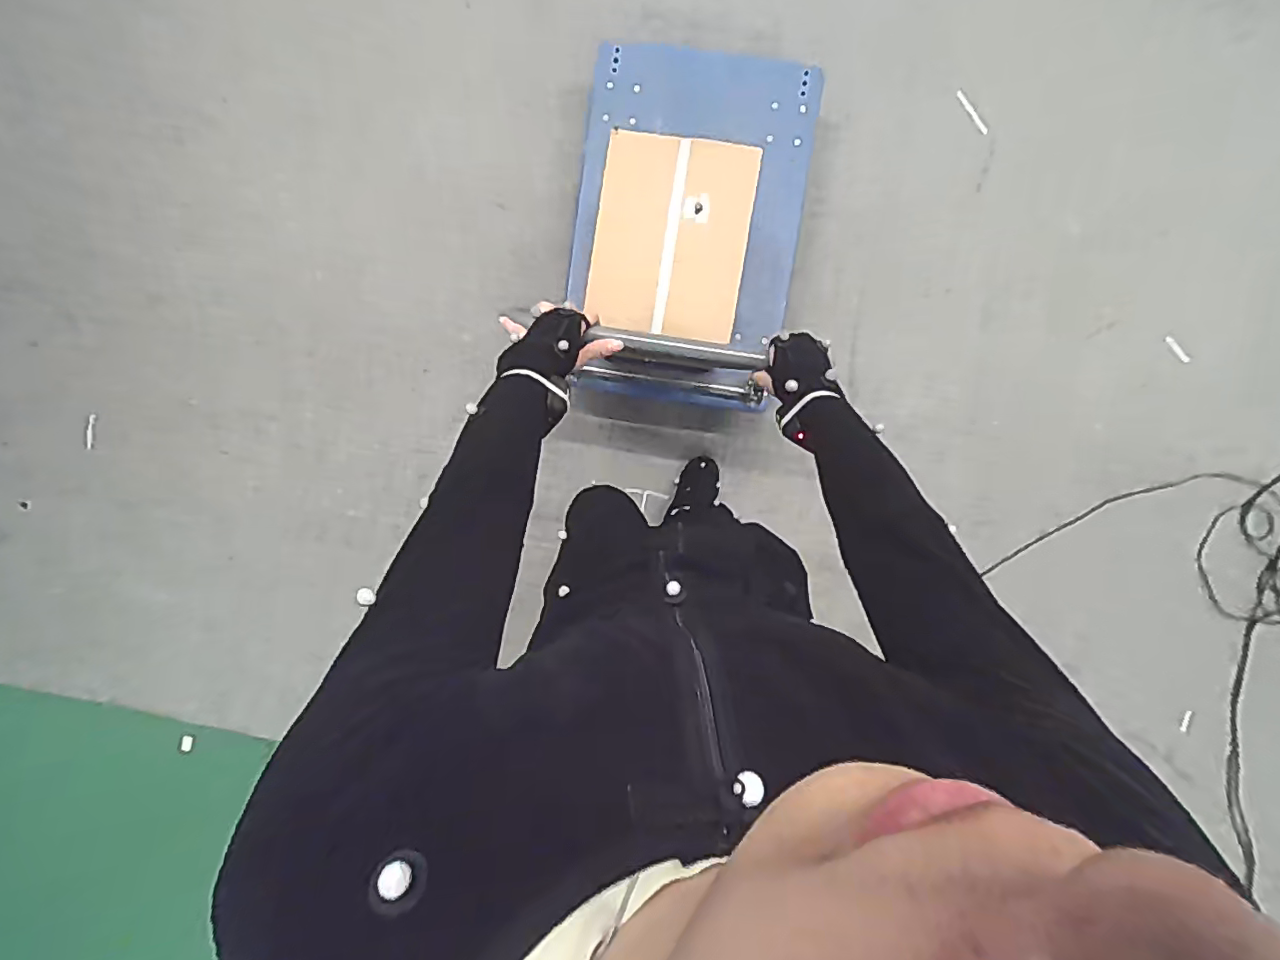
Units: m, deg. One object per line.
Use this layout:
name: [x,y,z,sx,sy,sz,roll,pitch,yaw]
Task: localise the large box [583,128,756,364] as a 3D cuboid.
large box: [0.066,-0.508,1.255,0.320,0.320,0.408,9,93,2]
